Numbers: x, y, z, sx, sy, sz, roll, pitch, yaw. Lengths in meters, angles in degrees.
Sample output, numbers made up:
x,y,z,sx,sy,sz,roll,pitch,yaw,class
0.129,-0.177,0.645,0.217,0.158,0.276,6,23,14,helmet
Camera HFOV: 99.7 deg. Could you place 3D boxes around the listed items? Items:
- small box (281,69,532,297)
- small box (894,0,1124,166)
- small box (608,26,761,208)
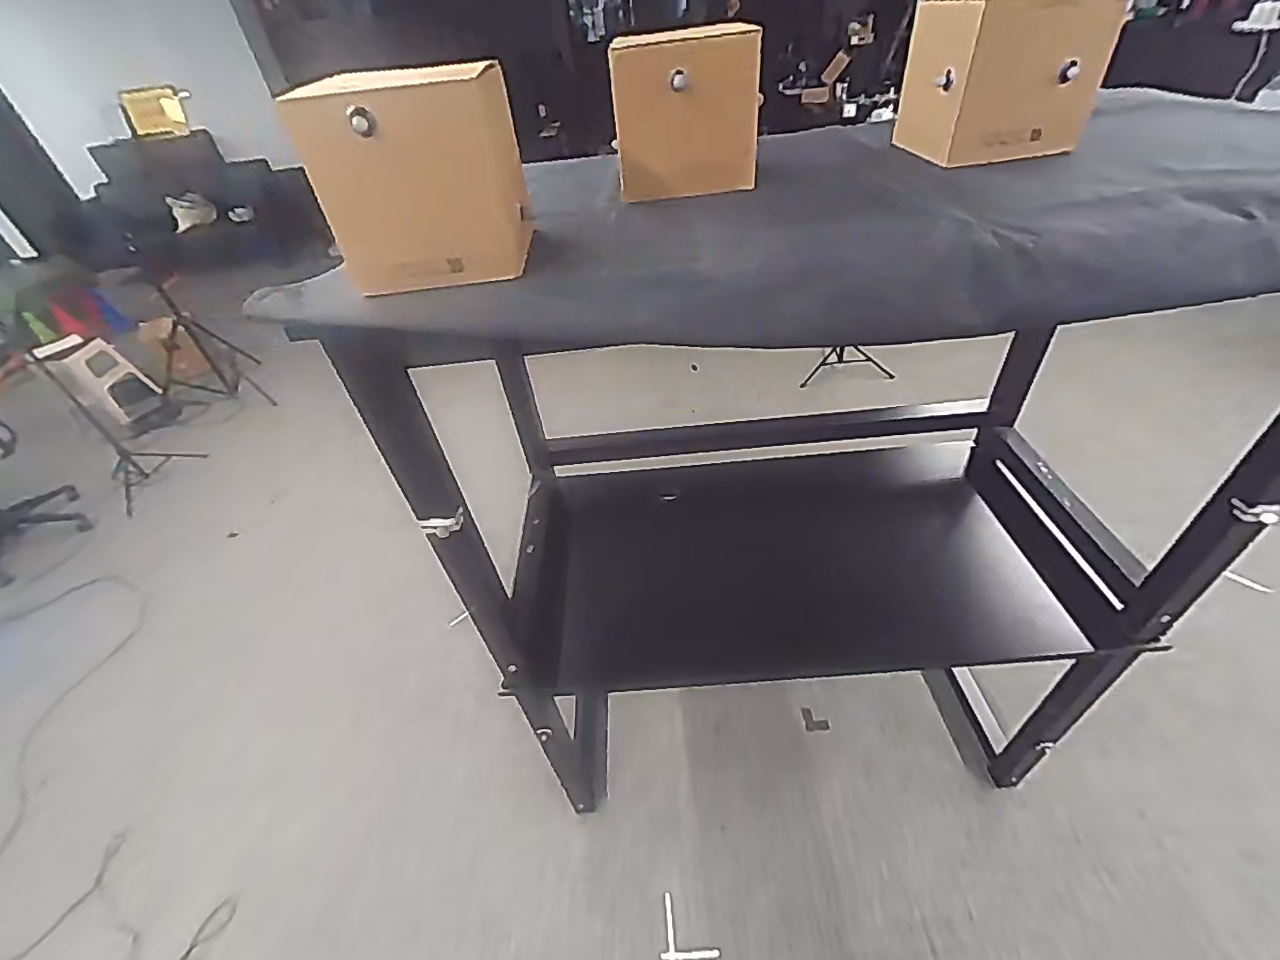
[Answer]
x,y,z,sx,sy,sz,roll,pitch,yaw,class
-0.212,-0.305,0.555,0.168,0.176,0.179,-7,41,1,small box
0.456,-0.519,0.700,0.168,0.176,0.179,-6,42,1,small box
0.057,-0.482,0.721,0.179,0.176,0.168,-5,42,4,small box
